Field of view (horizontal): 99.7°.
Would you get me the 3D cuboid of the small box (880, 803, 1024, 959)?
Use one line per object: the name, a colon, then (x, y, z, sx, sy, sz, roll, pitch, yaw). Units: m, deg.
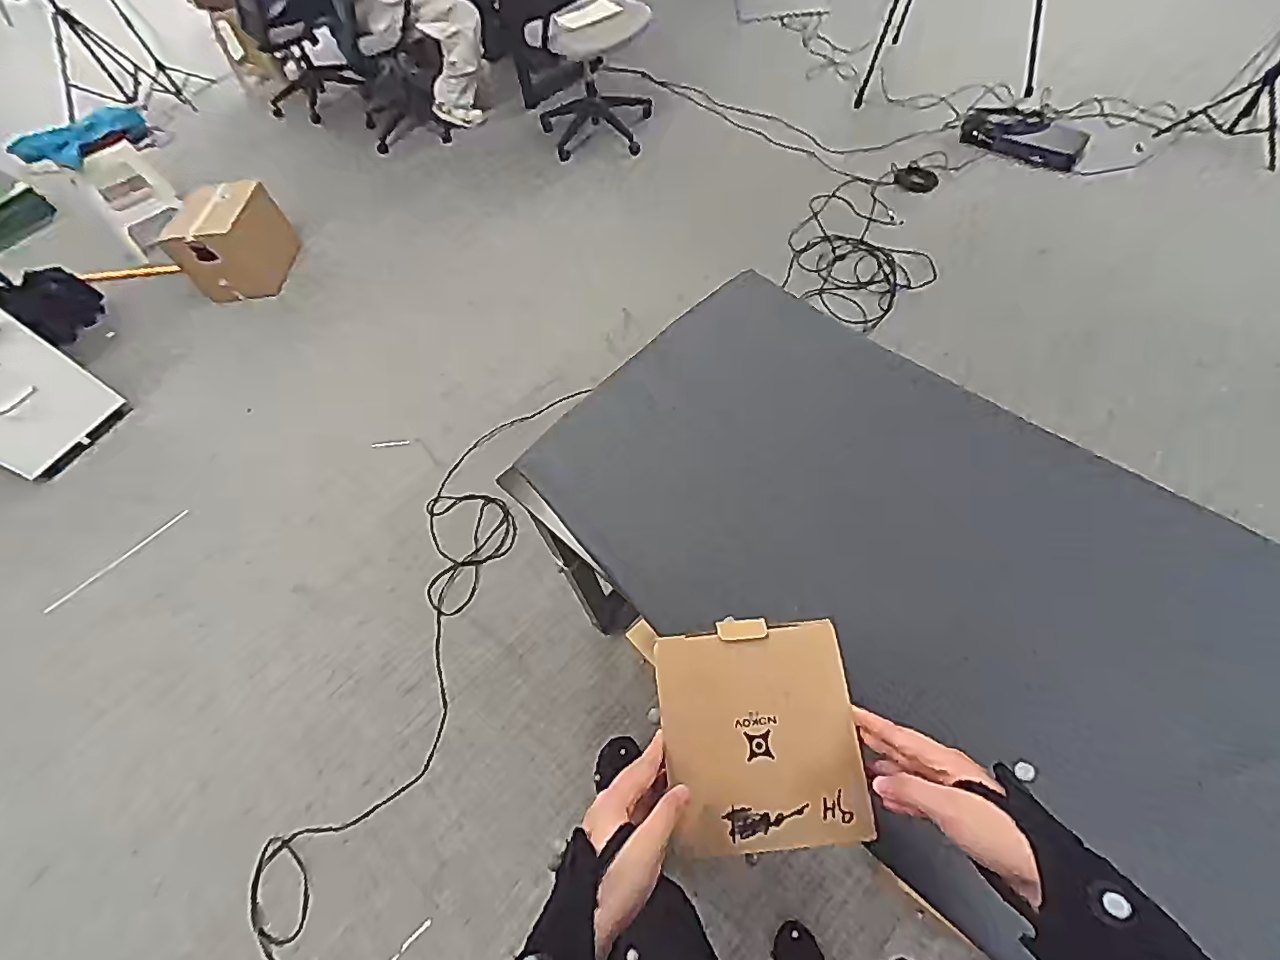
small box: (0.590, 0.765, 1.047, 0.168, 0.176, 0.179, 32, 67, 24)

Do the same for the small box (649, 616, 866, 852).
small box: (0.098, 0.238, 0.538, 0.168, 0.176, 0.179, -6, 71, 2)

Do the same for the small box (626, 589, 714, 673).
small box: (0.090, 0.411, 1.343, 0.179, 0.176, 0.168, -39, 61, -18)
